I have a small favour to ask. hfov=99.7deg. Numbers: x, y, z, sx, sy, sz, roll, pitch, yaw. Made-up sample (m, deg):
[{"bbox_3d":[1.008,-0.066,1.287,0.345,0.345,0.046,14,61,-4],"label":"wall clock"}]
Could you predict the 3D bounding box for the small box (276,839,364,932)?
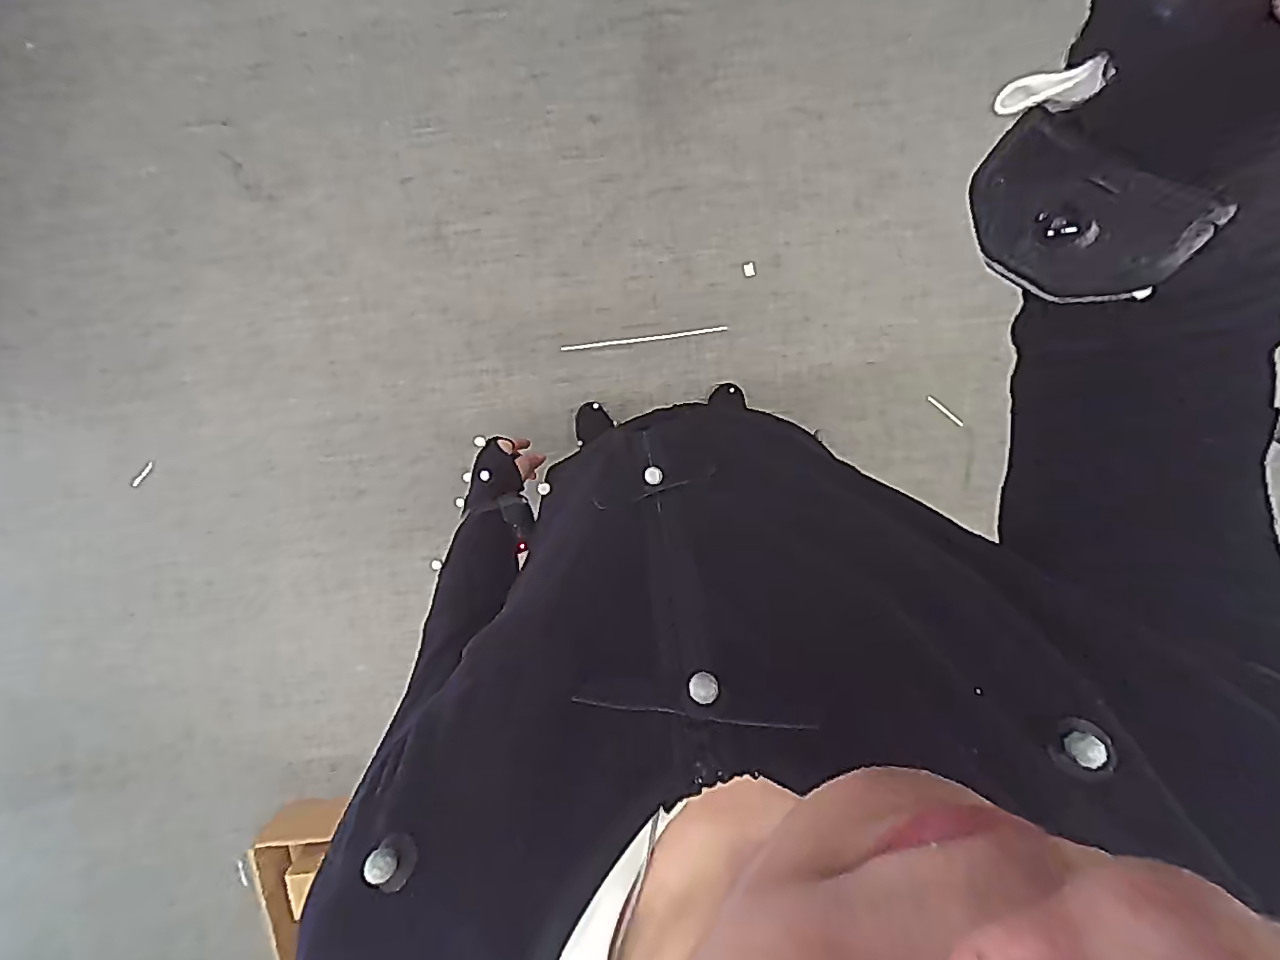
[{"bbox_3d":[-0.985,1.257,1.685,0.179,0.176,0.168,-4,99,0],"label":"small box"}]
